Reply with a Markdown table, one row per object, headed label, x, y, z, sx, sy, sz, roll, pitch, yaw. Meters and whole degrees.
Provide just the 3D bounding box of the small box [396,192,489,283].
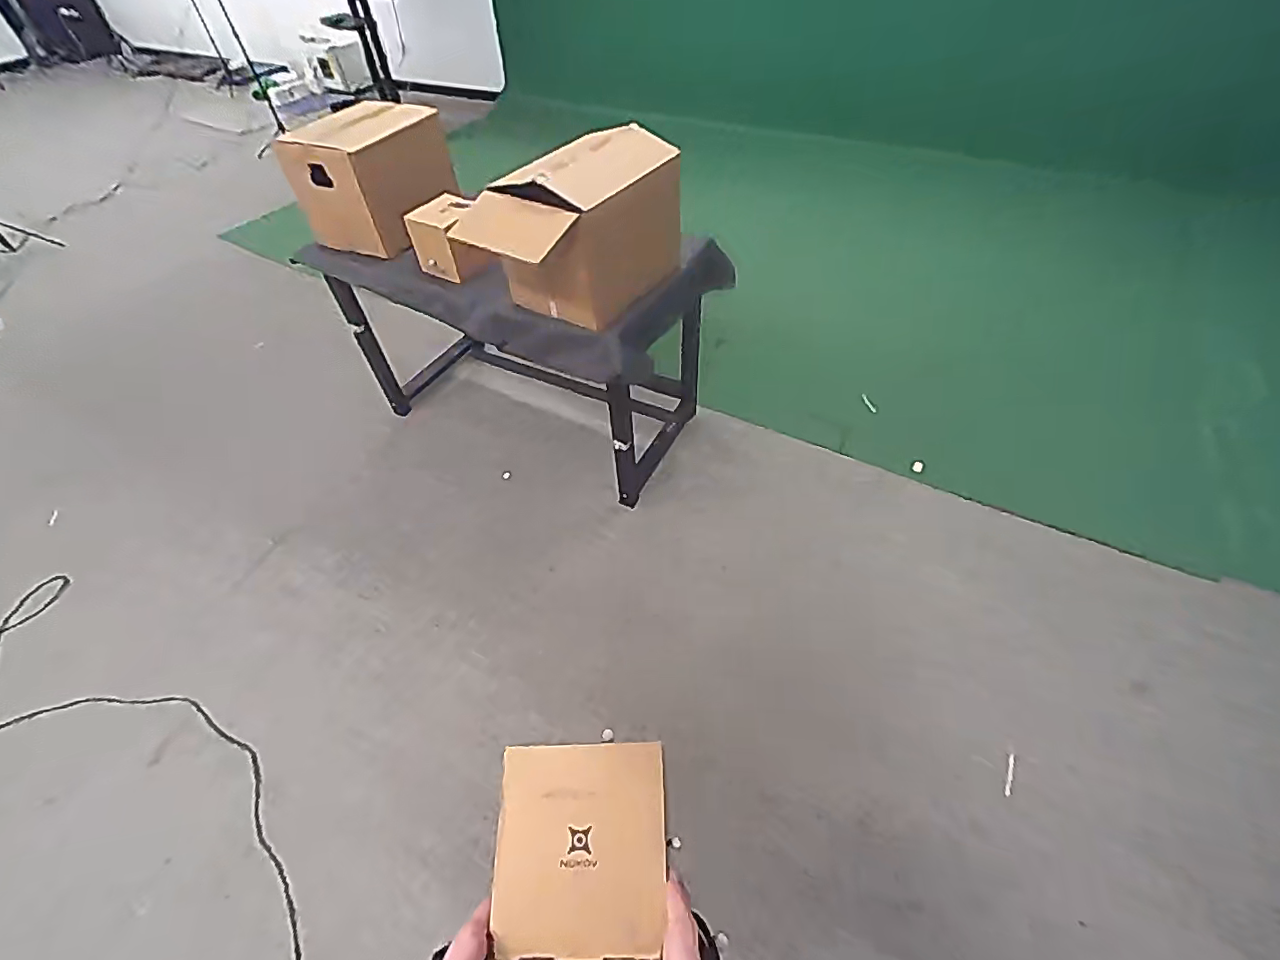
| label | x | y | z | sx | sy | sz | roll | pitch | yaw |
| --- | --- | --- | --- | --- | --- | --- | --- | --- | --- |
| small box | -0.564 | -0.707 | 1.576 | 0.168 | 0.176 | 0.179 | 24 | 56 | 22 |
